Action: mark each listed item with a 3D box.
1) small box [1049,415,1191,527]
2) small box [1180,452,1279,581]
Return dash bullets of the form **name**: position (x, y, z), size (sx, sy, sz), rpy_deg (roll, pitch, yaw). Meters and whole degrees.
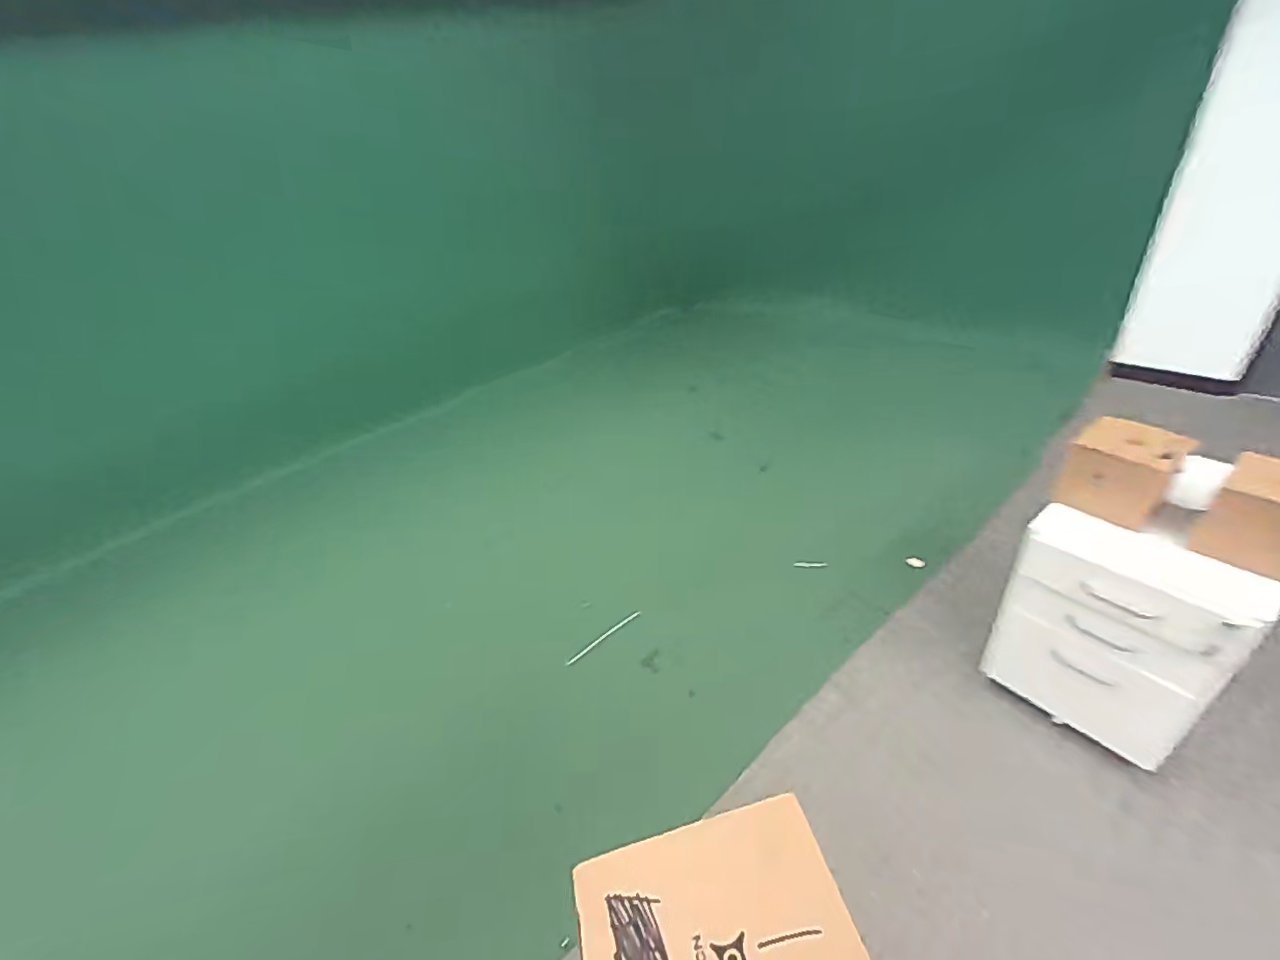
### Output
- **small box**: position (1.084, -0.022, 1.235), size (0.168, 0.176, 0.179), rpy_deg (-30, 40, -24)
- **small box**: position (1.235, 0.074, 1.066), size (0.168, 0.176, 0.179), rpy_deg (-29, 37, -26)
